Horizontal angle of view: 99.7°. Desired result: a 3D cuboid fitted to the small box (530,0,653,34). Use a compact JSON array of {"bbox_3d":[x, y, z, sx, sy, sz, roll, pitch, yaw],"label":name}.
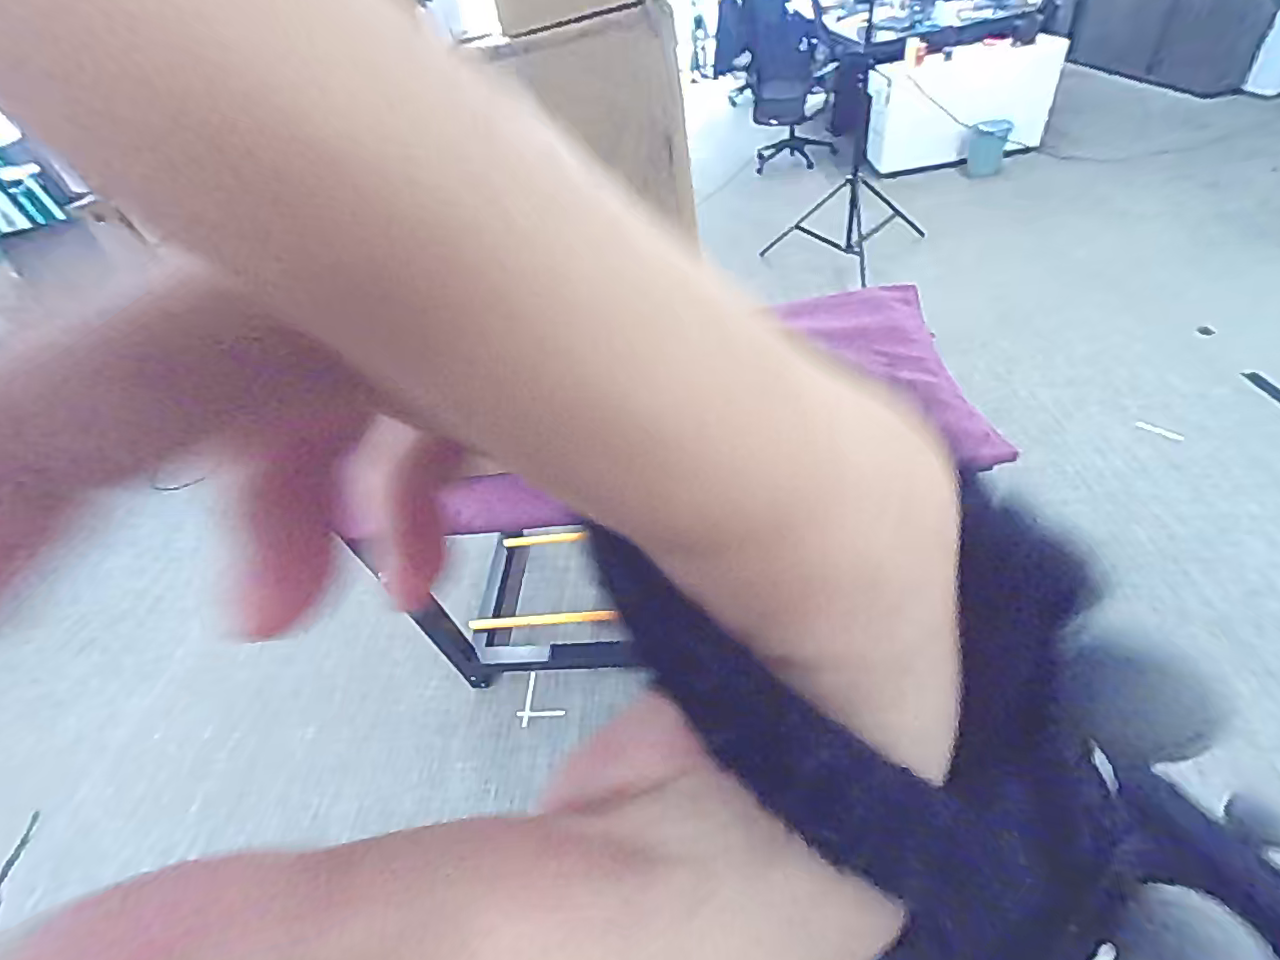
[{"bbox_3d":[-0.077,-0.745,0.749,0.168,0.176,0.179,-6,43,10],"label":"small box"}]
